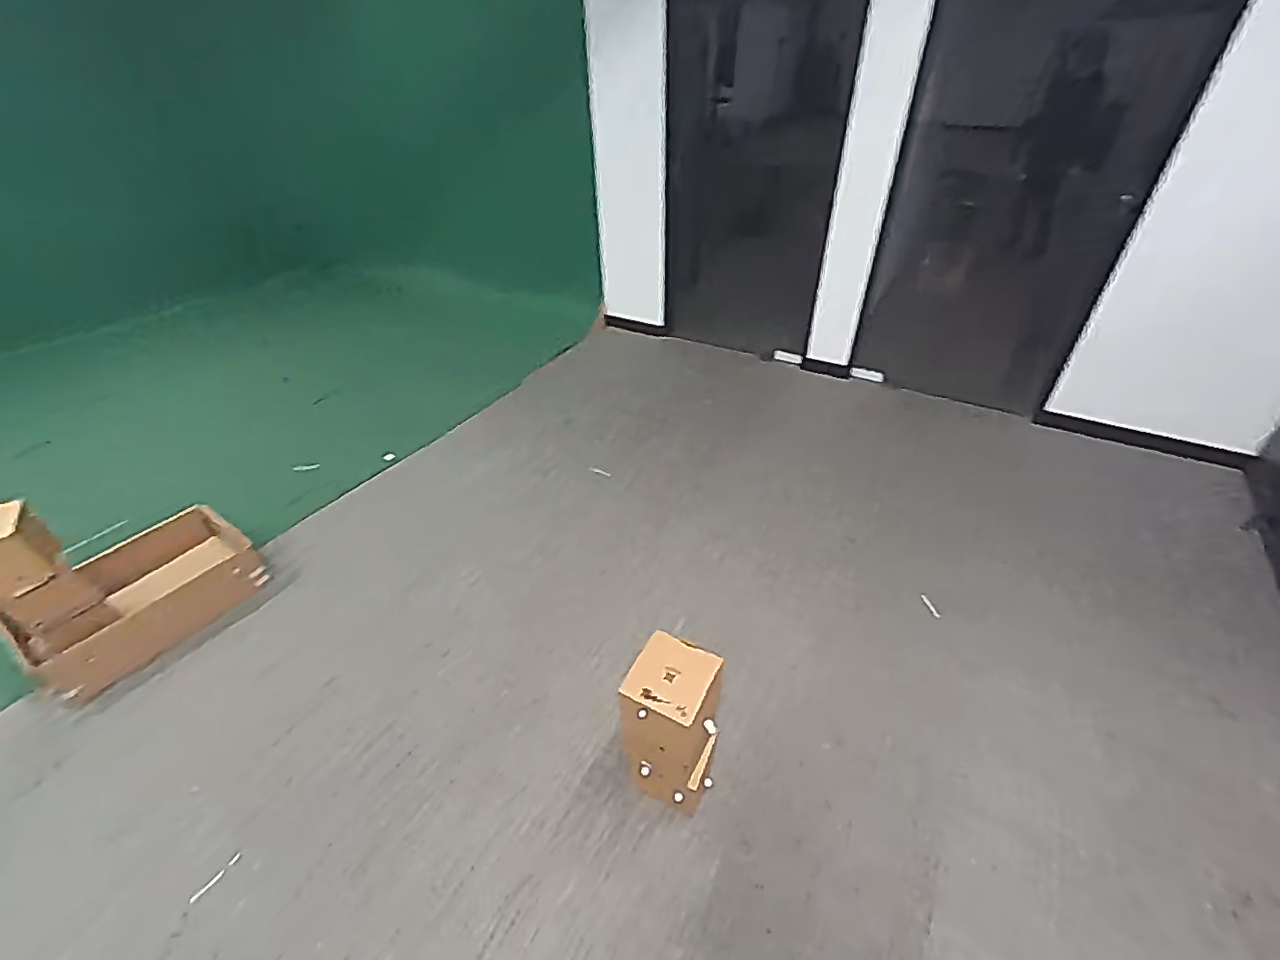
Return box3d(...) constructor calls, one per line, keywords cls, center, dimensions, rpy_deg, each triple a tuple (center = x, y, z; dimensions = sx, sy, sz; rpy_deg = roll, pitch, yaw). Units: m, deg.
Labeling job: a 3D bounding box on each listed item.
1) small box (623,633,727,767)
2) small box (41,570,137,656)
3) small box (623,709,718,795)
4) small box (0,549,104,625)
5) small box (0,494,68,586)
box3d(cls="small box", center=(0.074, 0.480, 1.183), dimensions=(0.168, 0.176, 0.179), rpy_deg=(19, 42, 24))
box3d(cls="small box", center=(-1.768, 0.425, 1.716), dimensions=(0.179, 0.176, 0.168), rpy_deg=(21, 43, 24))
box3d(cls="small box", center=(0.073, 0.603, 1.292), dimensions=(0.168, 0.176, 0.179), rpy_deg=(19, 43, 24))
box3d(cls="small box", center=(-1.763, 0.302, 1.606), dimensions=(0.179, 0.176, 0.168), rpy_deg=(21, 42, 26))
box3d(cls="small box", center=(-1.756, 0.176, 1.504), dimensions=(0.168, 0.176, 0.179), rpy_deg=(-23, 43, -27))
